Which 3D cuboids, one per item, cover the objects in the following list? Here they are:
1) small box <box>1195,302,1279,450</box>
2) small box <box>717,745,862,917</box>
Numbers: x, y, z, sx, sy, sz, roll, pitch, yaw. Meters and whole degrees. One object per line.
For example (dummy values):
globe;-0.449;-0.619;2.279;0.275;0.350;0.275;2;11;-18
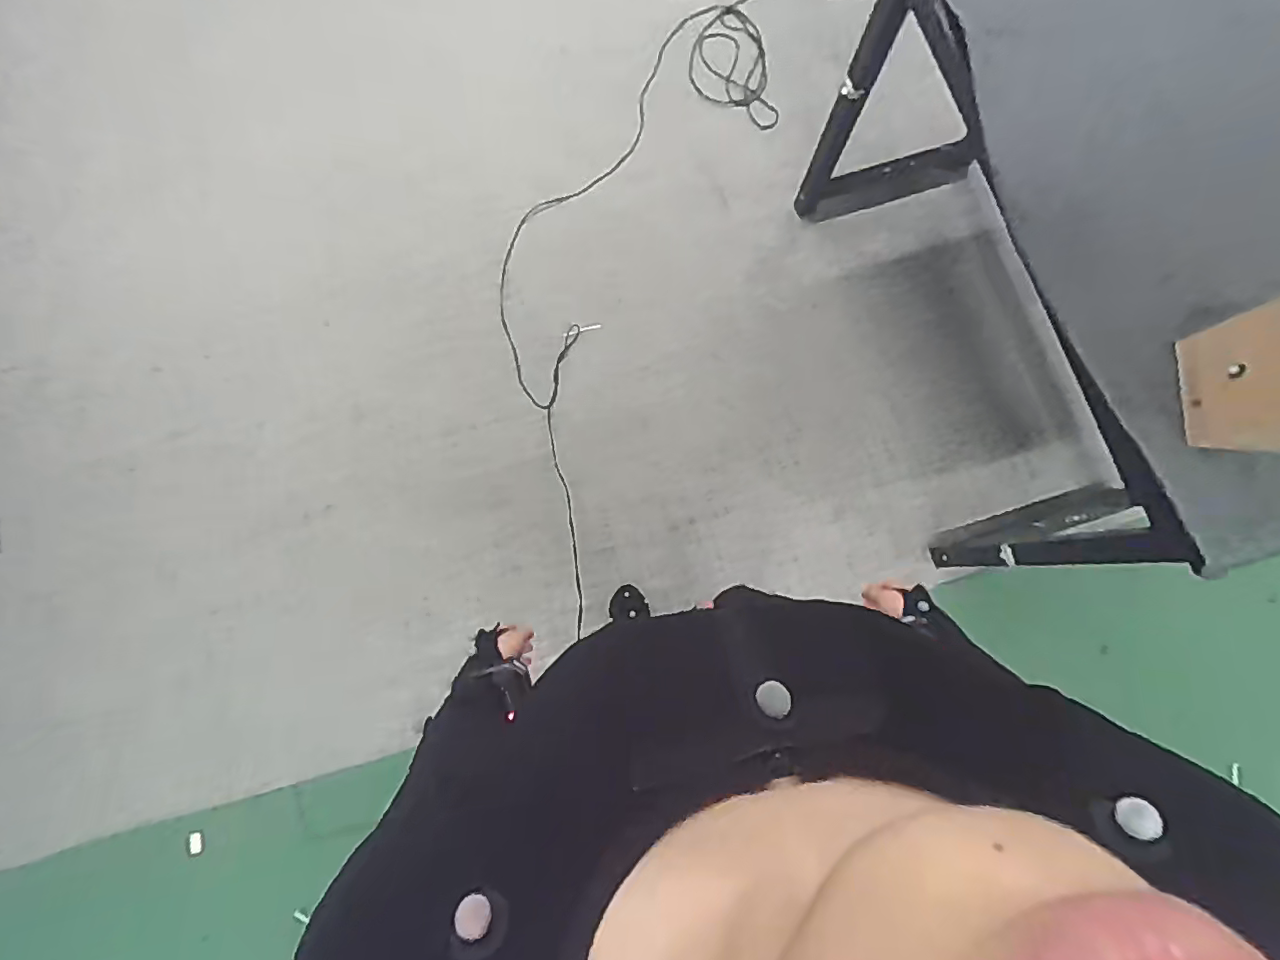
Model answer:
small box;0.897;-0.138;0.716;0.179;0.176;0.168;4;80;-1
small box;0.265;0.631;1.000;0.168;0.176;0.179;-41;82;-6
